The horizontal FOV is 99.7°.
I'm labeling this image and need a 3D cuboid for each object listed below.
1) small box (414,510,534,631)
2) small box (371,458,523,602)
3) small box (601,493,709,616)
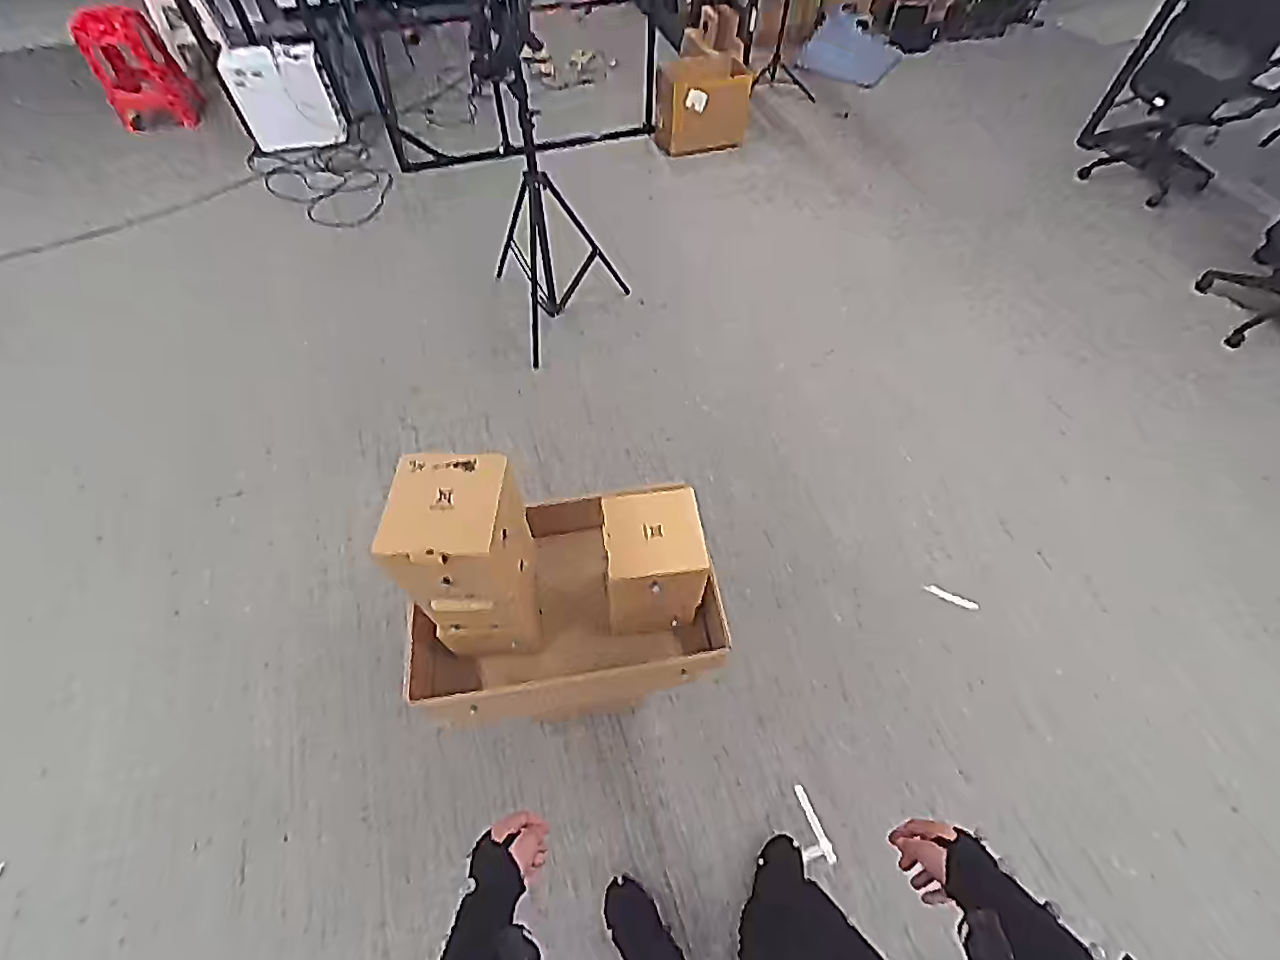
[{"bbox_3d":[-0.293,0.171,0.996,0.168,0.176,0.179,-2,55,-2],"label":"small box"},{"bbox_3d":[-0.289,0.084,0.856,0.168,0.176,0.179,2,57,0],"label":"small box"},{"bbox_3d":[0.022,0.144,1.019,0.179,0.176,0.168,-7,56,-4],"label":"small box"}]
